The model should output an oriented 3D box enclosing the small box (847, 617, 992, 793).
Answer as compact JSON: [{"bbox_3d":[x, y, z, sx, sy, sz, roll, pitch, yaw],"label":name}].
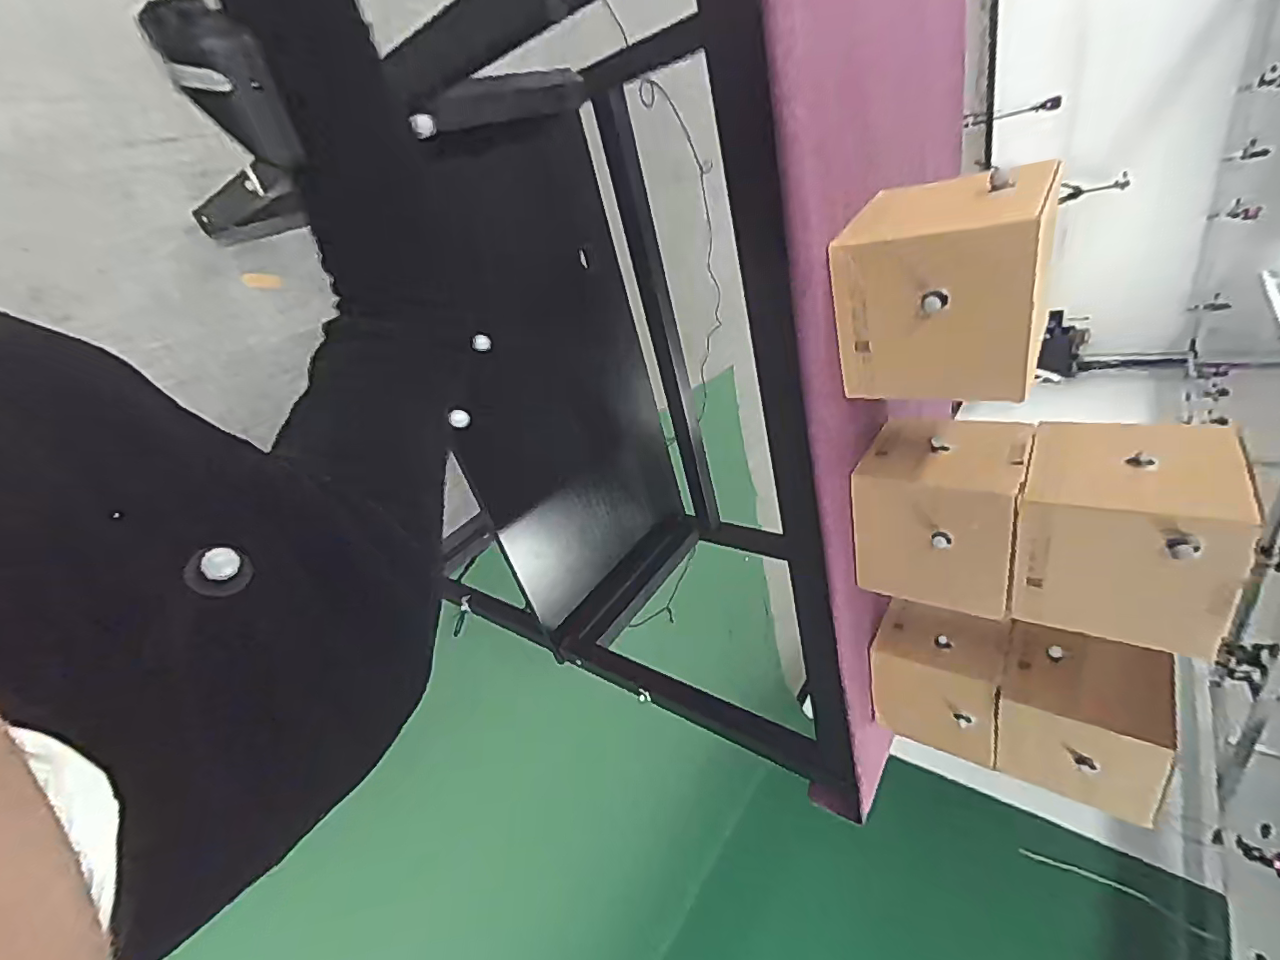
[{"bbox_3d":[0.427,0.325,0.832,0.168,0.176,0.179,-38,125,-42],"label":"small box"}]

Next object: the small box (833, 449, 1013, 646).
[{"bbox_3d":[0.350,0.070,0.675,0.168,0.176,0.179,-40,127,-41],"label":"small box"}]

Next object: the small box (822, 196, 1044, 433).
[{"bbox_3d":[0.291,-0.163,0.549,0.179,0.176,0.168,-48,132,-37],"label":"small box"}]

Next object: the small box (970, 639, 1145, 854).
[{"bbox_3d":[0.555,0.345,0.731,0.168,0.176,0.179,-45,128,-38],"label":"small box"}]
